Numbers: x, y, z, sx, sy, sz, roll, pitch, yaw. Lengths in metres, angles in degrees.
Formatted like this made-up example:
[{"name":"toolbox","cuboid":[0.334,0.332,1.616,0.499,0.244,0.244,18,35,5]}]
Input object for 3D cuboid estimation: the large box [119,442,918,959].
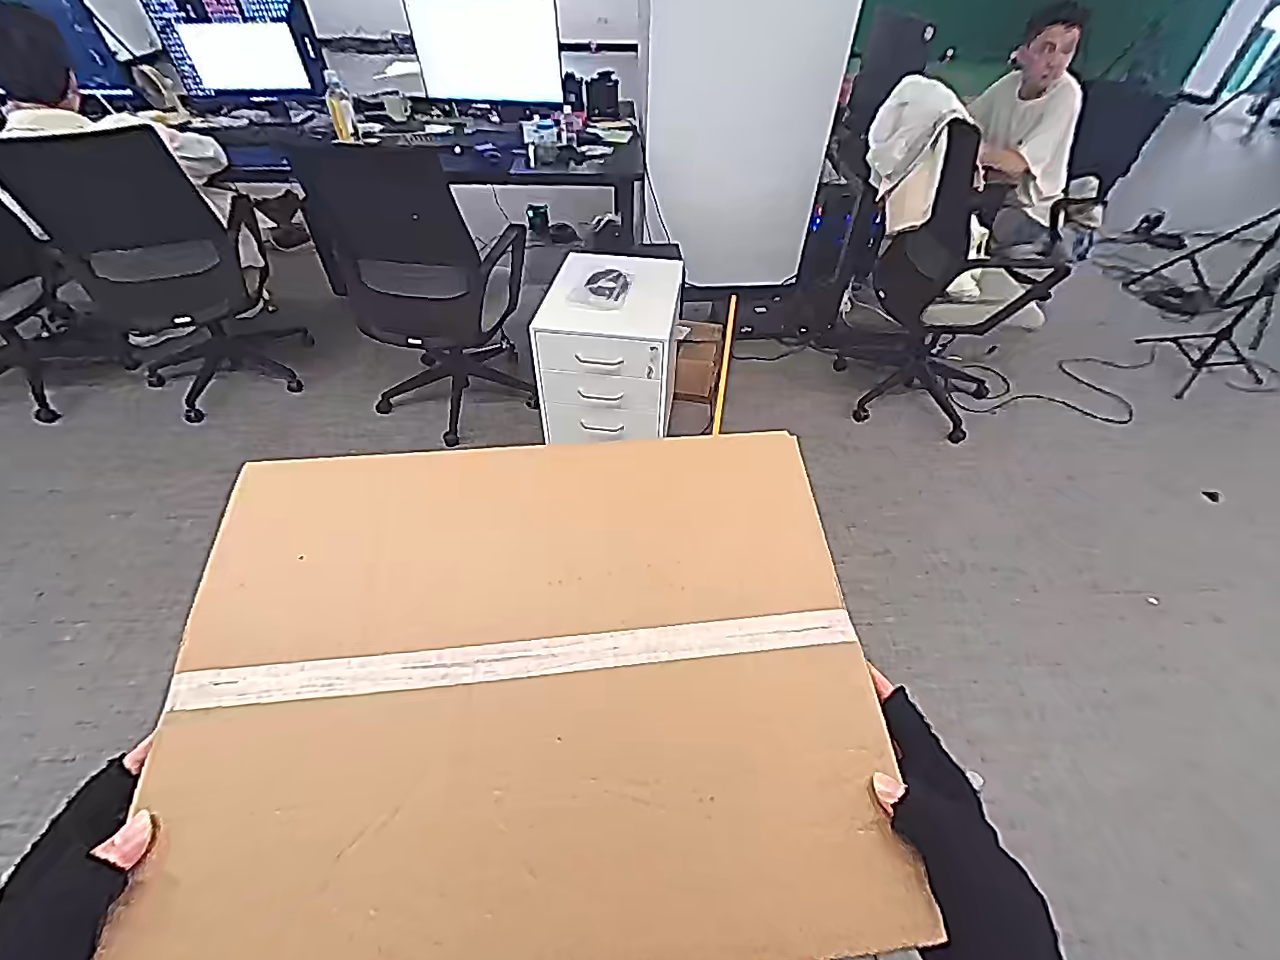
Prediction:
[{"name":"large box","cuboid":[-0.071,0.192,0.462,0.408,0.320,0.320,-4,59,-5]}]
